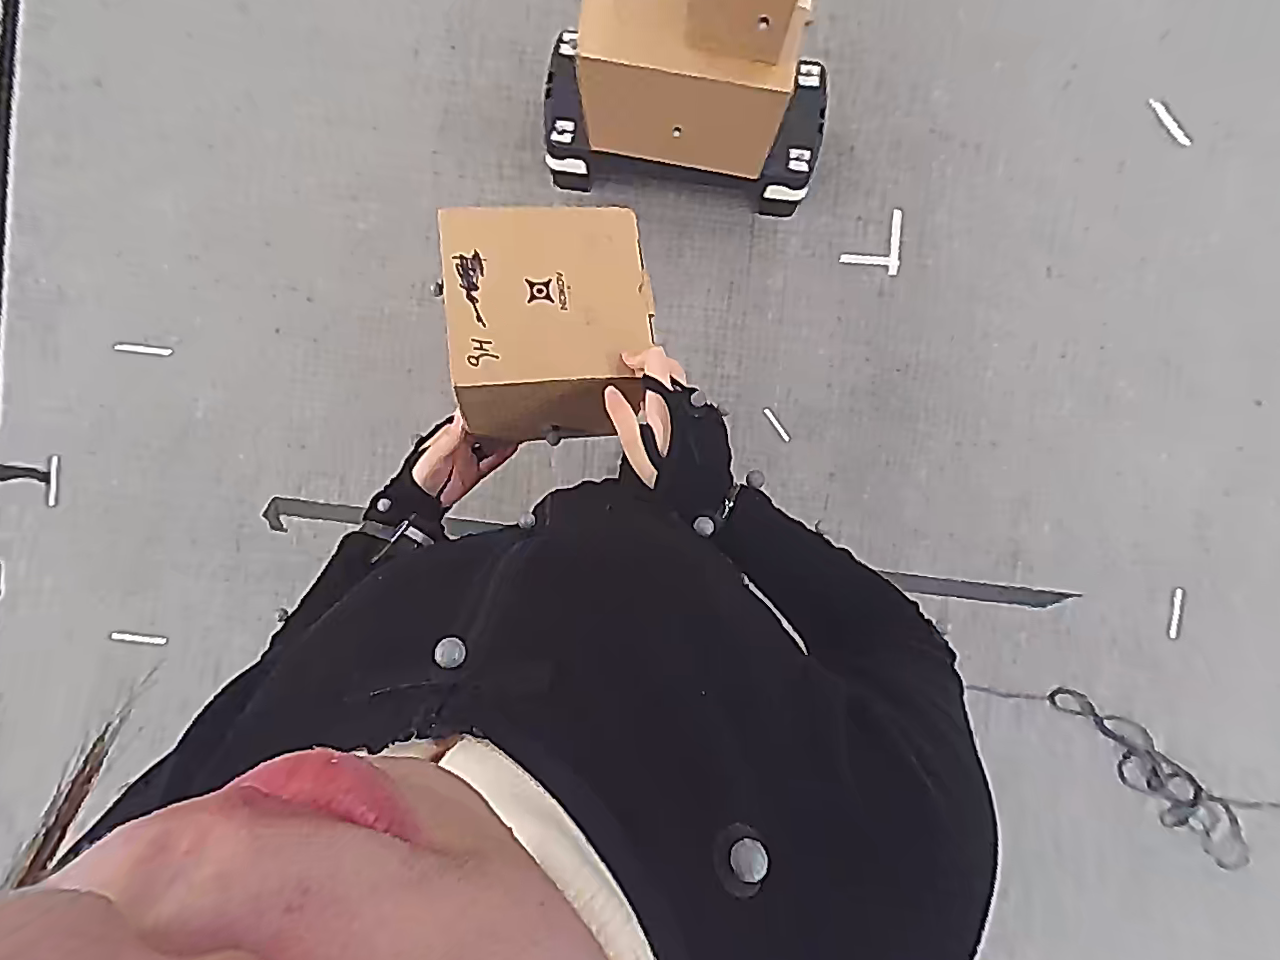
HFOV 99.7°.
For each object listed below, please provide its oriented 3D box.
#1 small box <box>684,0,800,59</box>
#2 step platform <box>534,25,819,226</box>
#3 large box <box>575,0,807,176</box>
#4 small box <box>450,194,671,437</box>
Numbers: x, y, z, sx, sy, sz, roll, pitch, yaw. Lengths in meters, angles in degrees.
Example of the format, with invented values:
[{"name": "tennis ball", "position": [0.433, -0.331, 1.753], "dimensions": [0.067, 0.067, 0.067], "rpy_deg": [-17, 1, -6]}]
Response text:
[{"name": "small box", "position": [0.177, -0.827, 0.869], "dimensions": [0.179, 0.176, 0.168], "rpy_deg": [13, 93, 0]}, {"name": "step platform", "position": [0.086, -0.877, 1.352], "dimensions": [0.684, 0.204, 0.286], "rpy_deg": [12, 92, 1]}, {"name": "large box", "position": [0.105, -0.877, 1.114], "dimensions": [0.408, 0.320, 0.320], "rpy_deg": [9, 92, 1]}, {"name": "small box", "position": [-0.084, -0.146, 0.529], "dimensions": [0.179, 0.176, 0.168], "rpy_deg": [-5, 77, -13]}]
